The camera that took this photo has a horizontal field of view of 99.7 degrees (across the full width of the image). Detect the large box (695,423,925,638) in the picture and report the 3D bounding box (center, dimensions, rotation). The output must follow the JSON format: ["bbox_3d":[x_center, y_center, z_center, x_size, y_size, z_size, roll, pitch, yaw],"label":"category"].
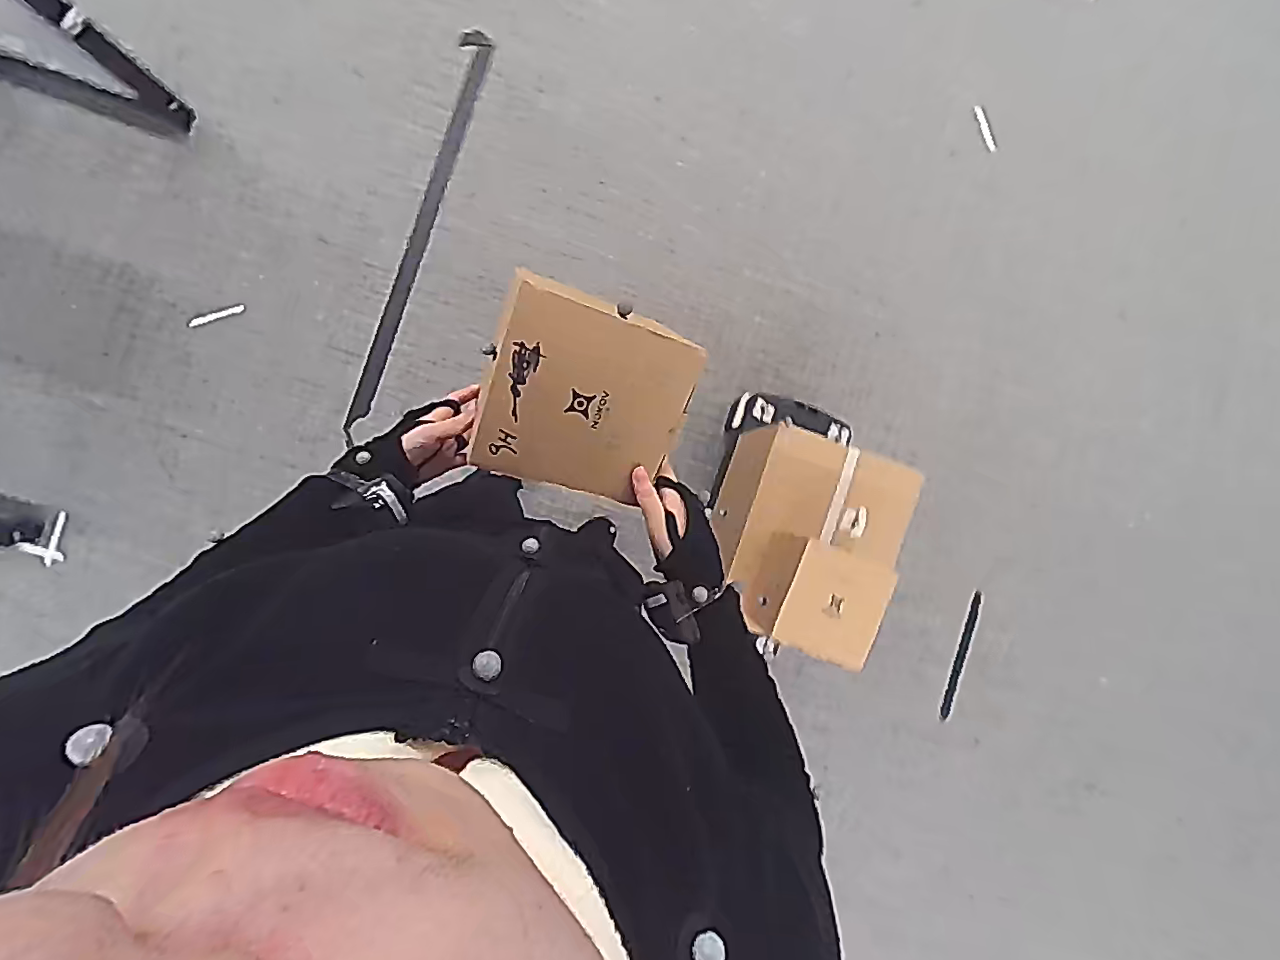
[{"bbox_3d":[0.342,0.128,1.185,0.320,0.320,0.408,19,88,-5],"label":"large box"}]

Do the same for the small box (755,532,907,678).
[{"bbox_3d":[0.316,0.205,0.938,0.168,0.176,0.179,23,88,-4],"label":"small box"}]

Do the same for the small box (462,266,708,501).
[{"bbox_3d":[-0.065,-0.102,0.535,0.179,0.176,0.168,15,109,-21],"label":"small box"}]

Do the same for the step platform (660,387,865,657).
[{"bbox_3d":[0.315,0.104,1.421,0.286,0.204,0.684,25,88,-4],"label":"step platform"}]
